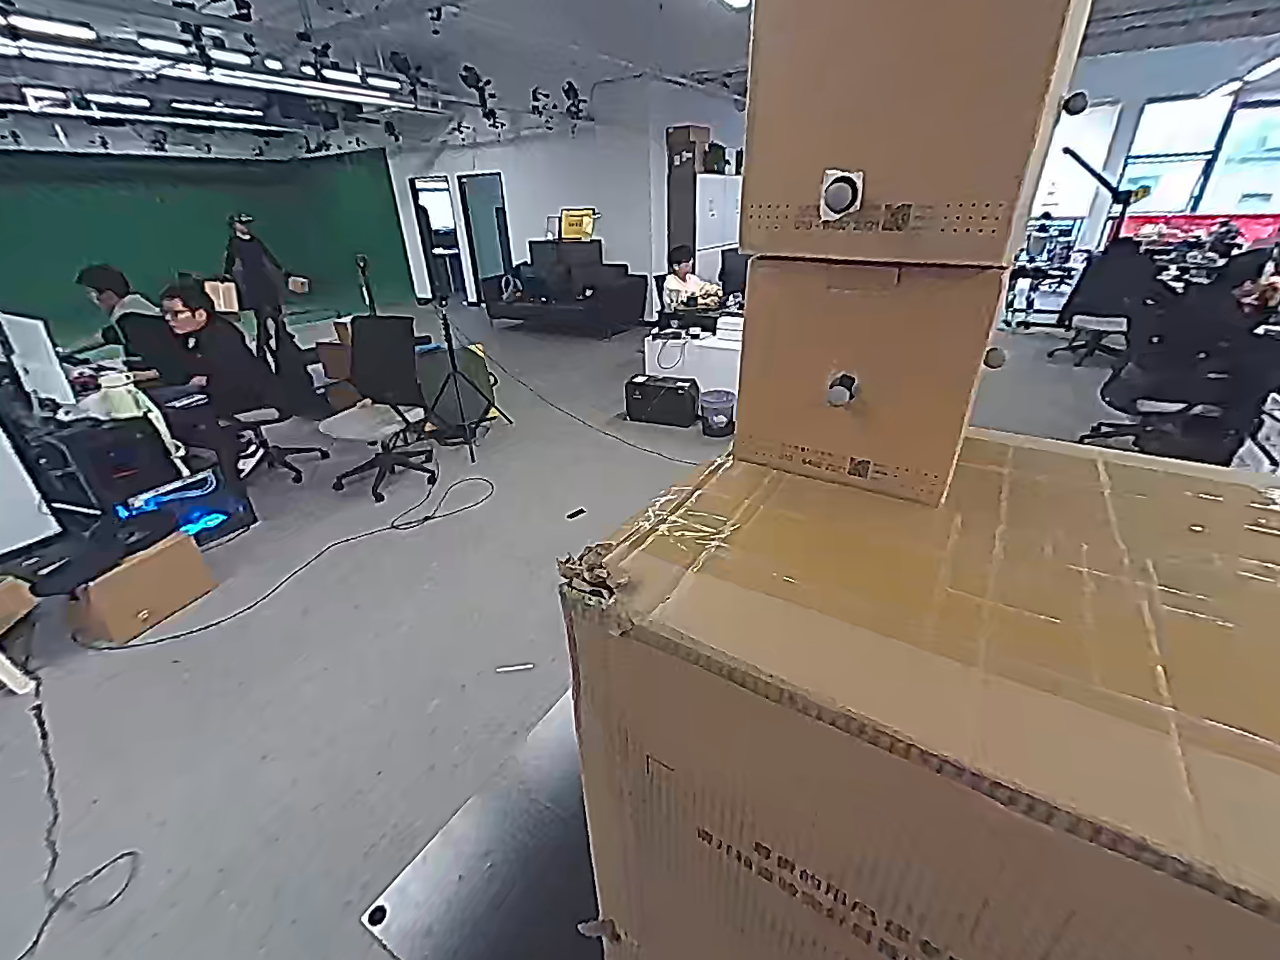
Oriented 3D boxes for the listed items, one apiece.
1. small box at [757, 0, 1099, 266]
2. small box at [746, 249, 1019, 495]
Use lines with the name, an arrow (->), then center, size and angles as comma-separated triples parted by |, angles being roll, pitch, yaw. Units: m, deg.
small box -> 0.187, -0.245, 0.365 | 0.168, 0.176, 0.179 | 15, 32, 31
small box -> 0.196, -0.106, 0.452 | 0.168, 0.176, 0.179 | 16, 32, 29
